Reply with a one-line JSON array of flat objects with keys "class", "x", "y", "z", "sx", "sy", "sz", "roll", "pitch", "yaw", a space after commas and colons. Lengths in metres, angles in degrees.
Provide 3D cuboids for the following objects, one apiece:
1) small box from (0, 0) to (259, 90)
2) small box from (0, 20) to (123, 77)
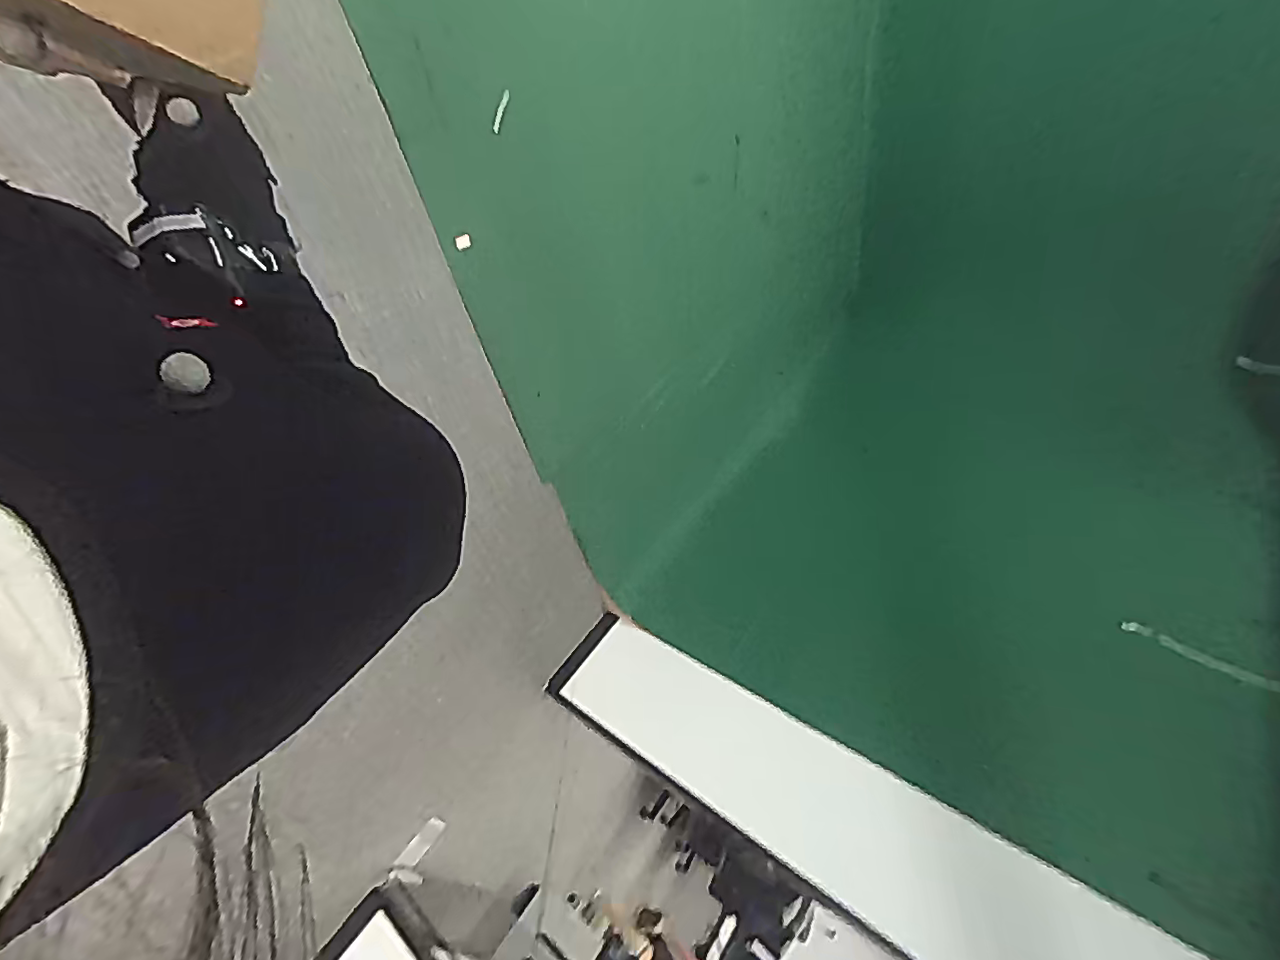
[{"class": "small box", "x": -0.219, "y": -0.236, "z": 0.133, "sx": 0.179, "sy": 0.176, "sz": 0.168, "roll": -5, "pitch": 120, "yaw": -54}, {"class": "small box", "x": -0.340, "y": -0.305, "z": 0.215, "sx": 0.179, "sy": 0.176, "sz": 0.168, "roll": -4, "pitch": 118, "yaw": -56}]
